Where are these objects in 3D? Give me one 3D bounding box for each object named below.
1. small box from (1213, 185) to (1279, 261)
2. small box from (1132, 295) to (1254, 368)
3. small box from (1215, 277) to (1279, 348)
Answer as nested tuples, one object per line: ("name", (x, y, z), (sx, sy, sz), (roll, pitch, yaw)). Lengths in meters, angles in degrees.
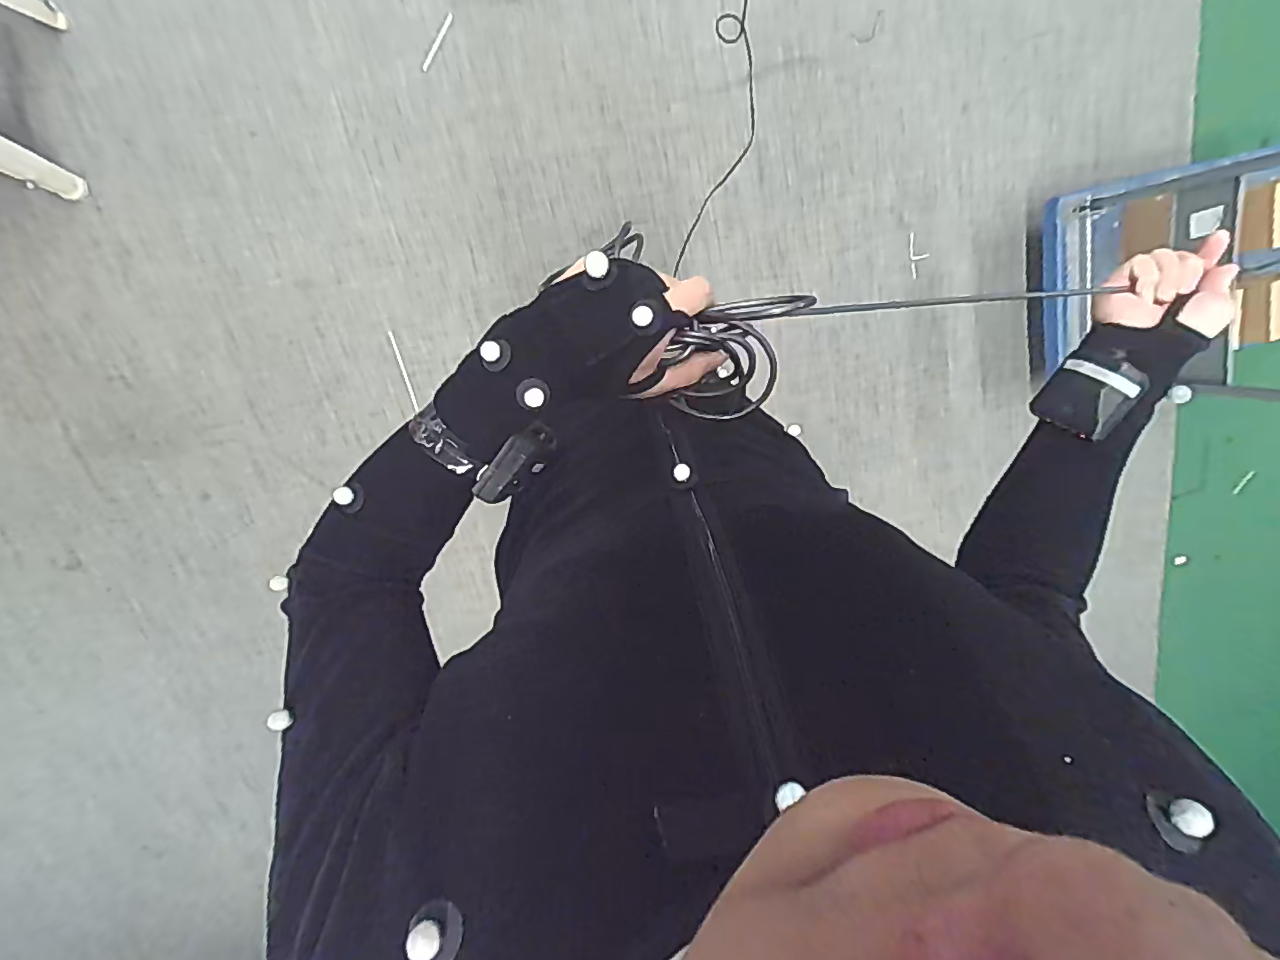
("small box", (1.745, -0.718, 1.491), (0.179, 0.176, 0.168), (-18, 106, -5))
("small box", (1.556, -0.419, 1.529), (0.179, 0.176, 0.168), (-13, 105, -5))
("small box", (1.817, -0.486, 1.556), (0.179, 0.176, 0.168), (-18, 104, -4))
